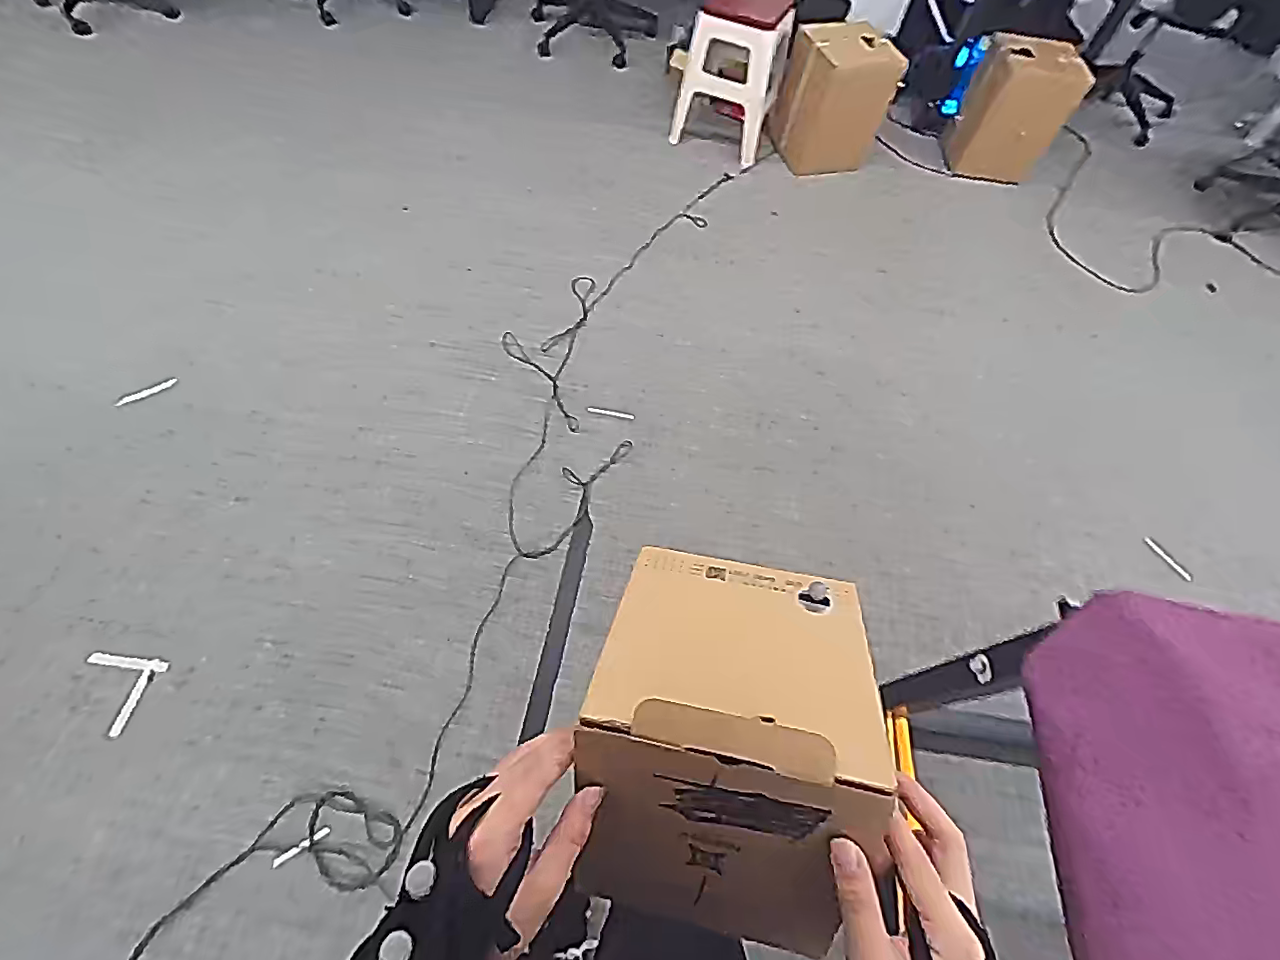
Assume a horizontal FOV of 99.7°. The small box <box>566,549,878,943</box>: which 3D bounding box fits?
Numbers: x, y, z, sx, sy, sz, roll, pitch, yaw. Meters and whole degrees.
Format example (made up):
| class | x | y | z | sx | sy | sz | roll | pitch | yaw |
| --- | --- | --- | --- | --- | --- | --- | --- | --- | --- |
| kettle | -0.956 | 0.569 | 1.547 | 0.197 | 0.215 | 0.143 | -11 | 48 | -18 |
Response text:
| class | x | y | z | sx | sy | sz | roll | pitch | yaw |
| --- | --- | --- | --- | --- | --- | --- | --- | --- | --- |
| small box | 0.051 | 0.172 | 0.388 | 0.168 | 0.179 | 0.176 | 8 | 28 | 9 |
